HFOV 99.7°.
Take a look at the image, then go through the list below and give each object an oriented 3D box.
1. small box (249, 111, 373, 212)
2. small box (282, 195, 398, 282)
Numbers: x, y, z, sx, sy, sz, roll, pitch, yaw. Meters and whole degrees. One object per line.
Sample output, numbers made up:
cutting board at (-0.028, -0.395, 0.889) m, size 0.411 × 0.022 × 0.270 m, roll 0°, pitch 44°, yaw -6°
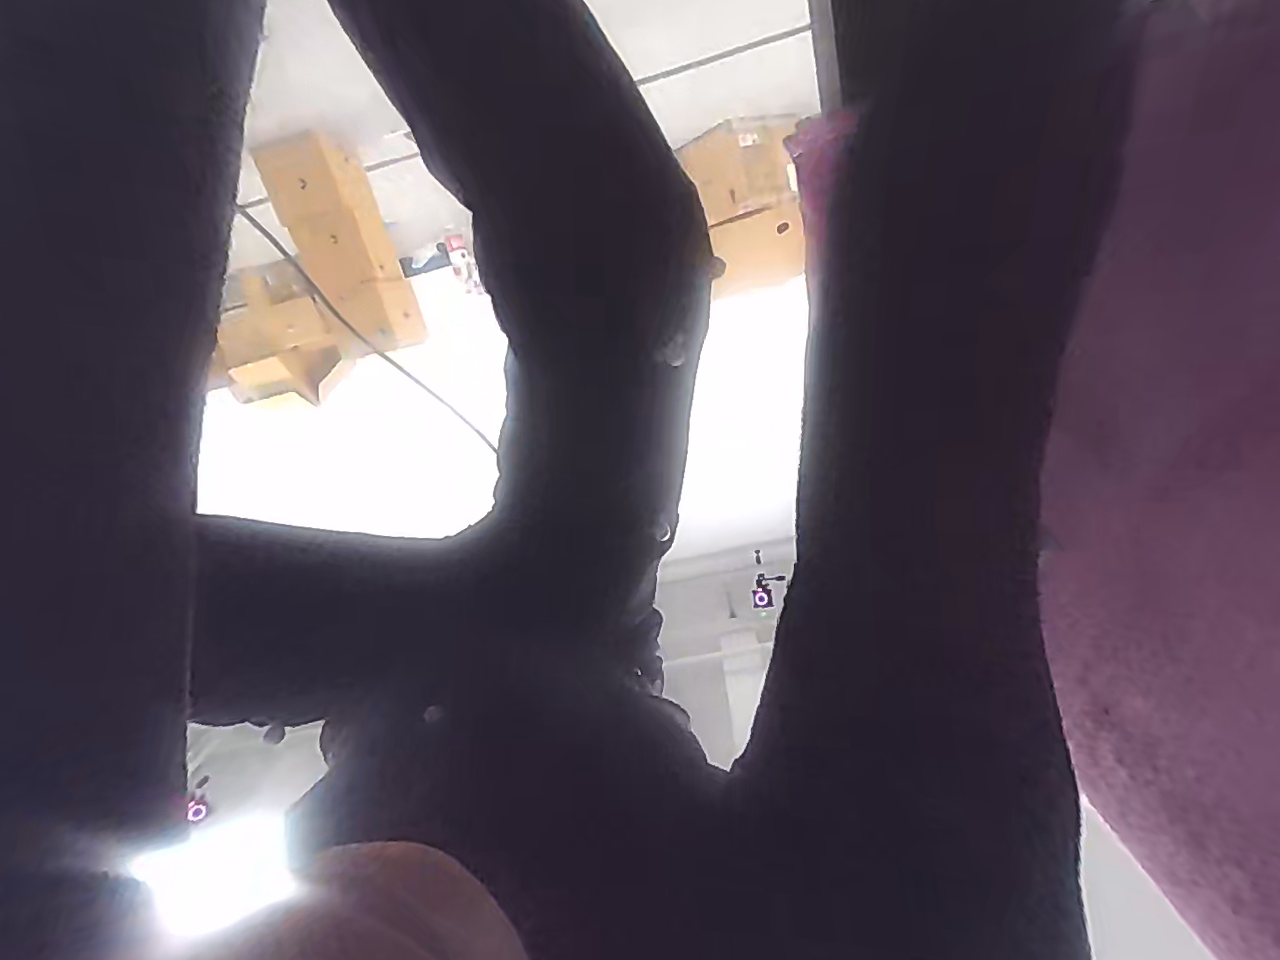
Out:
small box at (-0.790, -0.749, 1.296) m, size 0.179 × 0.176 × 0.168 m, roll -12°, pitch -159°, yaw 8°
small box at (-0.748, -0.607, 1.364) m, size 0.168 × 0.176 × 0.179 m, roll -12°, pitch -160°, yaw 4°
